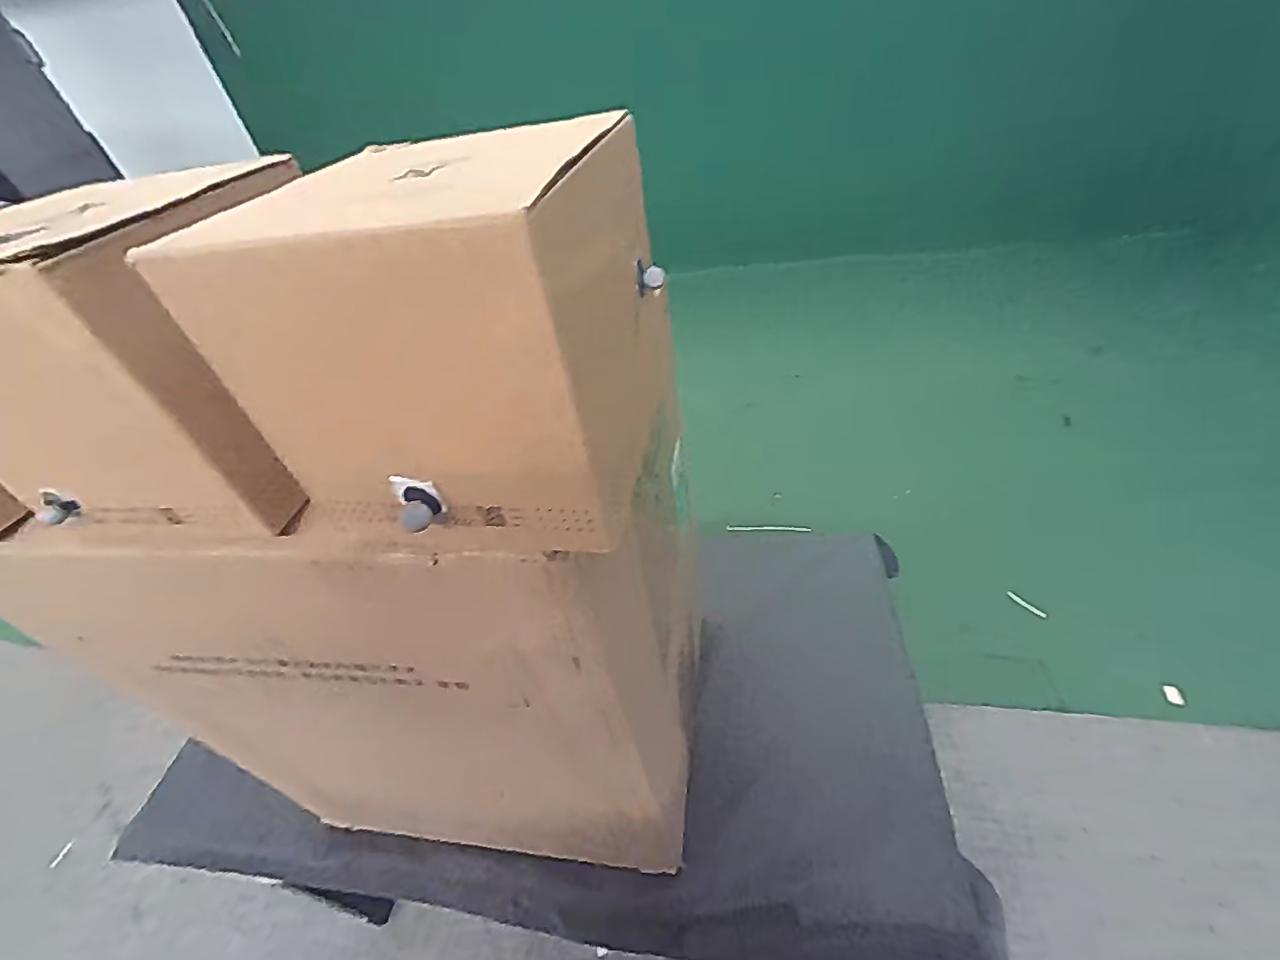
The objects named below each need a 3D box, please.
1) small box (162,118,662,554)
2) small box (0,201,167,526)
[{"bbox_3d":[-0.084,-0.081,0.307,0.168,0.176,0.179,0,44,13],"label":"small box"},{"bbox_3d":[-0.512,-0.081,0.397,0.168,0.176,0.179,-1,42,16],"label":"small box"}]
